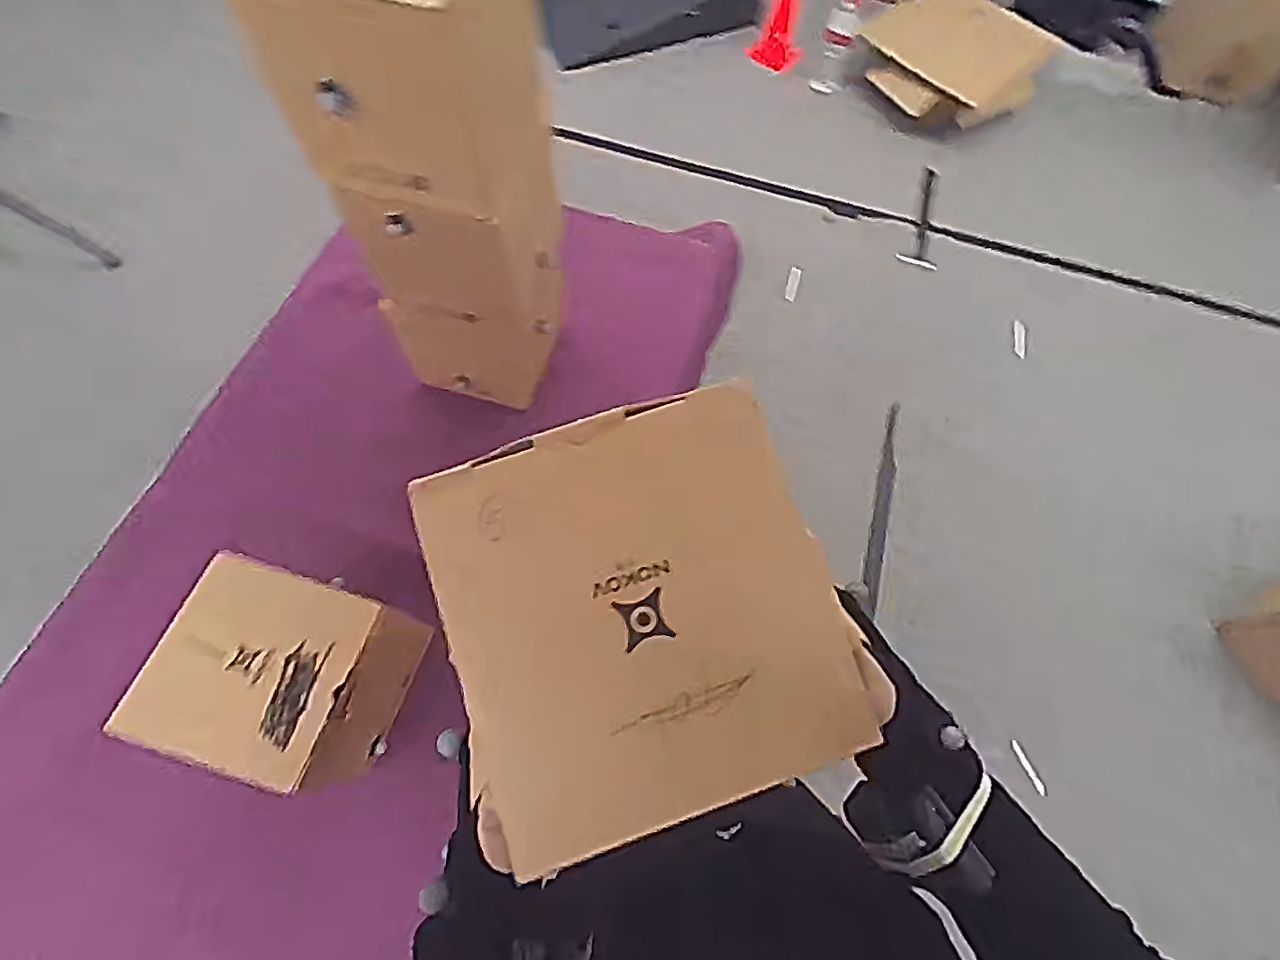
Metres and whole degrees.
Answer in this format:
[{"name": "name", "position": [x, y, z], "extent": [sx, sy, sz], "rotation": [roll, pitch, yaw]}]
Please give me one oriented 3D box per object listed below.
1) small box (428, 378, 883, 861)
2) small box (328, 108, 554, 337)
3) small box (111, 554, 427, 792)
[{"name": "small box", "position": [0.002, 0.066, 0.318], "extent": [0.168, 0.176, 0.179], "rotation": [-17, 83, -3]}, {"name": "small box", "position": [-0.197, -0.292, 0.602], "extent": [0.168, 0.176, 0.179], "rotation": [12, 66, 2]}, {"name": "small box", "position": [-0.351, 0.196, 0.558], "extent": [0.179, 0.176, 0.168], "rotation": [16, 66, 4]}]
